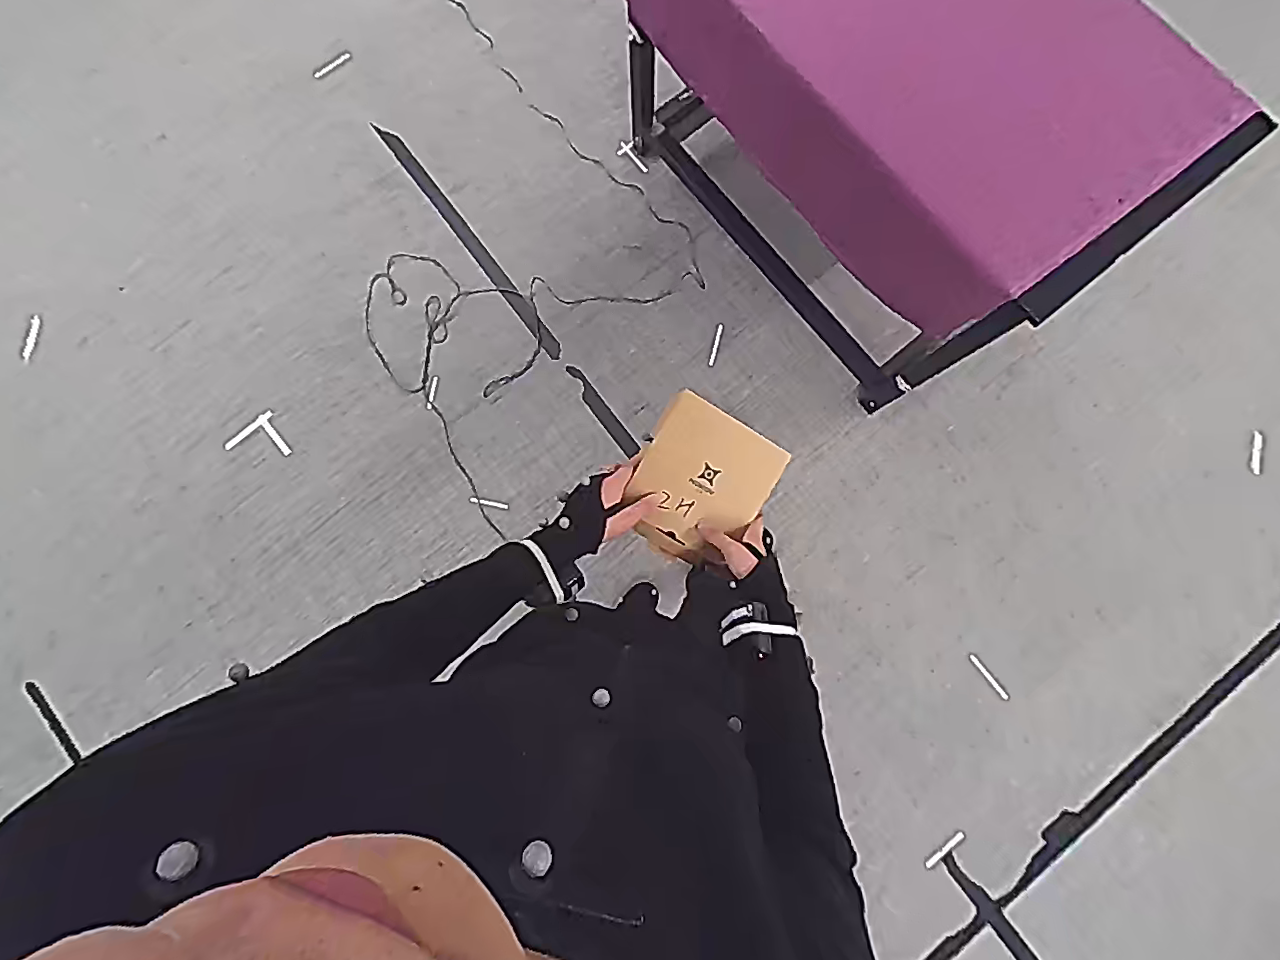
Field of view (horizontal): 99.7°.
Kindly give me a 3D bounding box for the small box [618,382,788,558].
[{"bbox_3d":[0.076,-0.016,0.771,0.168,0.176,0.179,30,91,-4],"label":"small box"}]
